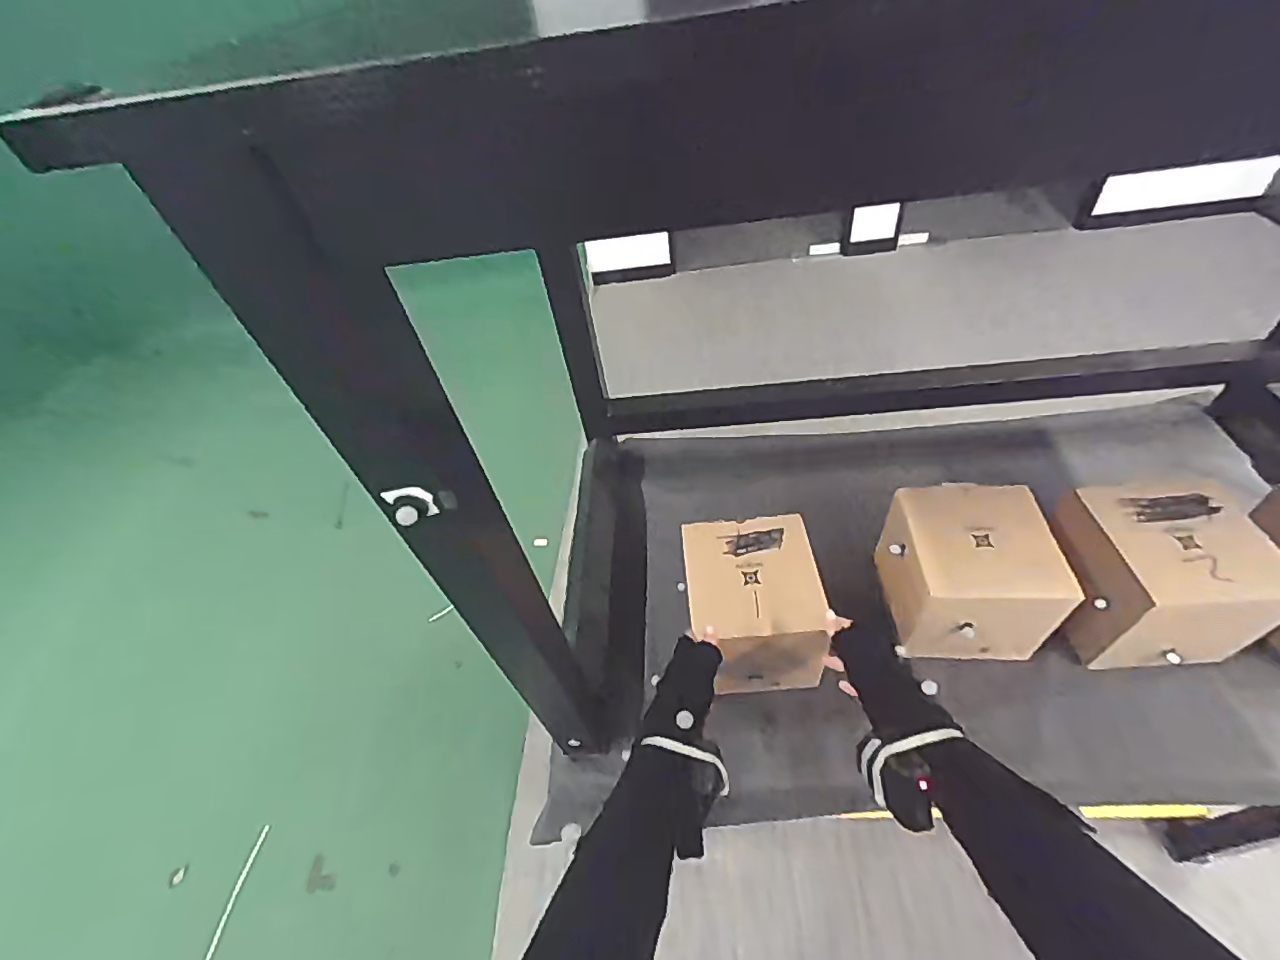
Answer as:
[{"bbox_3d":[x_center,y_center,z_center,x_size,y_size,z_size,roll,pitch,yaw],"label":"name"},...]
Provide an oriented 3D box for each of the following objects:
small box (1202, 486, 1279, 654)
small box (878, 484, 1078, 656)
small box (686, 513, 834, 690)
[{"bbox_3d":[0.881,0.118,0.665,0.168,0.176,0.179,-5,47,5],"label":"small box"},{"bbox_3d":[0.439,0.126,0.740,0.168,0.176,0.179,-1,47,9],"label":"small box"},{"bbox_3d":[0.153,0.169,0.746,0.168,0.176,0.179,-6,48,4],"label":"small box"}]
